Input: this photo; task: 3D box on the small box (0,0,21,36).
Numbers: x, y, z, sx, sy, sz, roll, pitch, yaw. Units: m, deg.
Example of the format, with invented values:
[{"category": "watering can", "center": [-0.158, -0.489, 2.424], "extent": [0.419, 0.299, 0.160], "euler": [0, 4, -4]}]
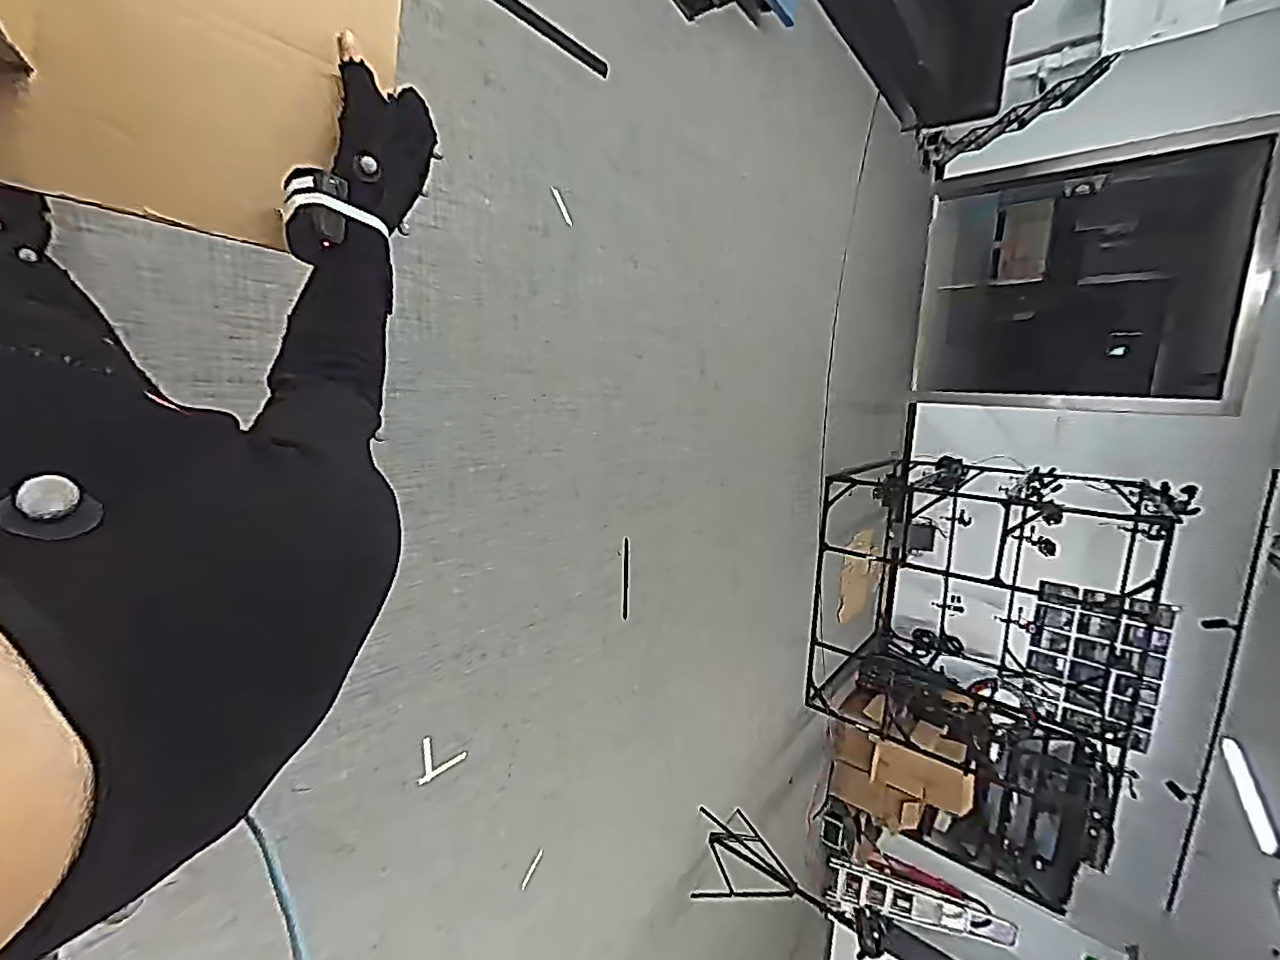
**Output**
[{"category": "small box", "center": [-0.417, -0.341, 0.240], "extent": [0.179, 0.176, 0.168], "euler": [0, 107, -41]}]
